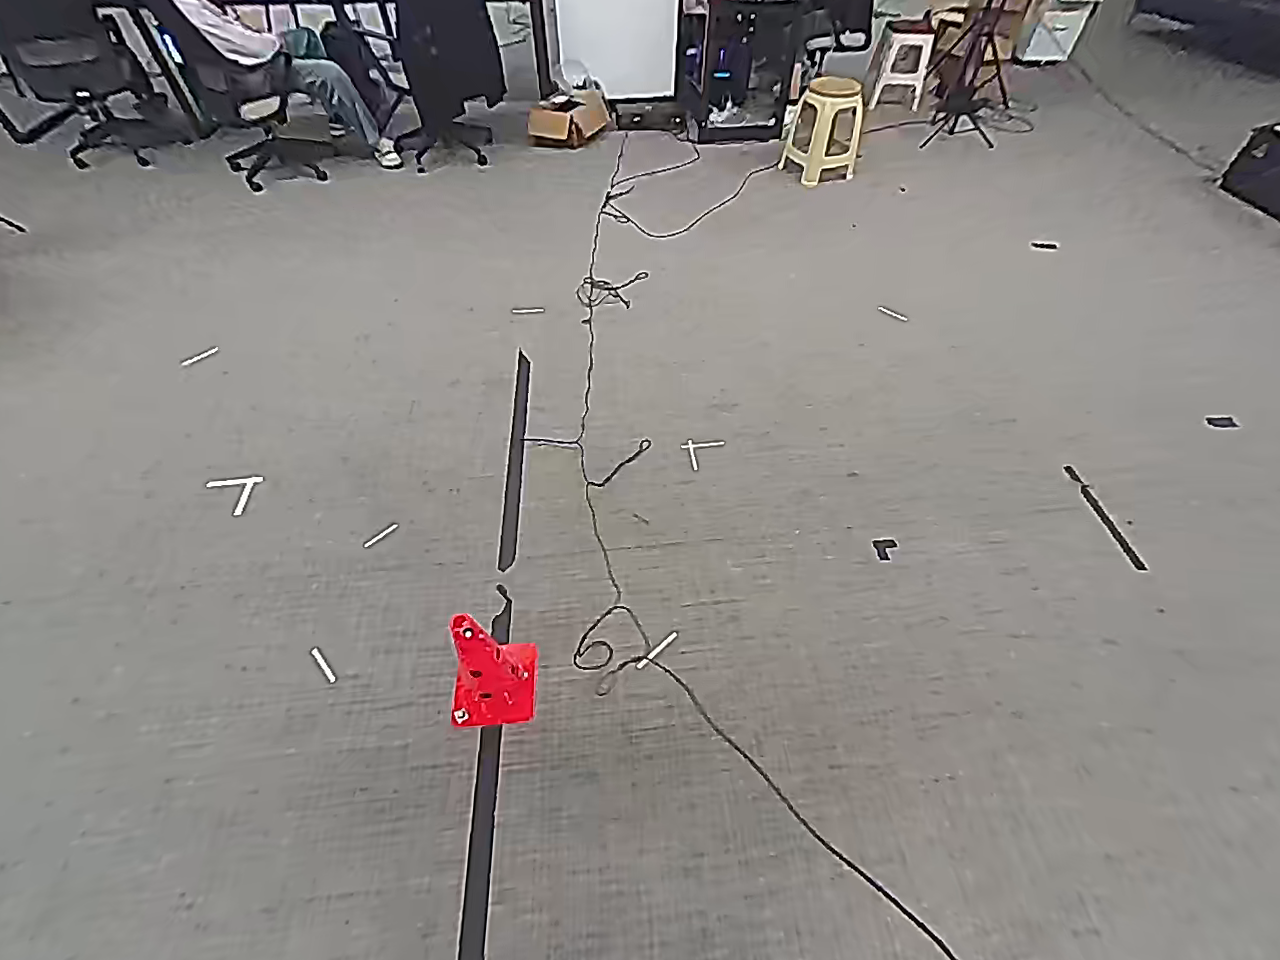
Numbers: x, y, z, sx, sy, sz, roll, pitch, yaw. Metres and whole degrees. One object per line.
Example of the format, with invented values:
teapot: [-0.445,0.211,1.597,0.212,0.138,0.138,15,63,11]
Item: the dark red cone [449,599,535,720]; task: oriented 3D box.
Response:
dark red cone: [-0.357,0.379,1.205,0.201,0.394,0.202,-3,50,-4]
